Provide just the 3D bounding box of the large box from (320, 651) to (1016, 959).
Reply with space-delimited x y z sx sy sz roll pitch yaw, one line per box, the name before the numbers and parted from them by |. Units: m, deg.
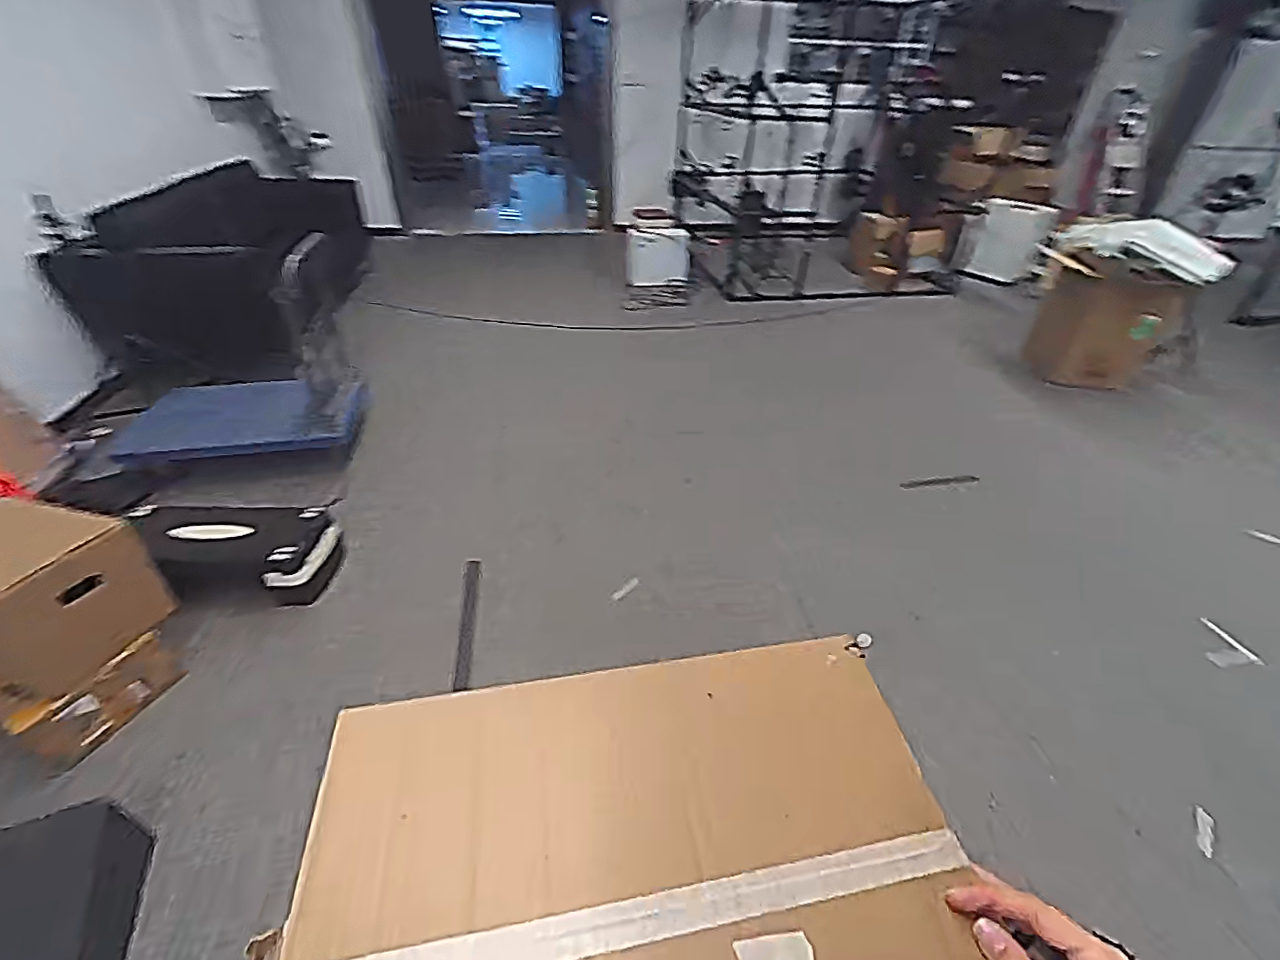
large box | 0.009 0.376 0.420 0.408 0.320 0.320 -5 44 -8
